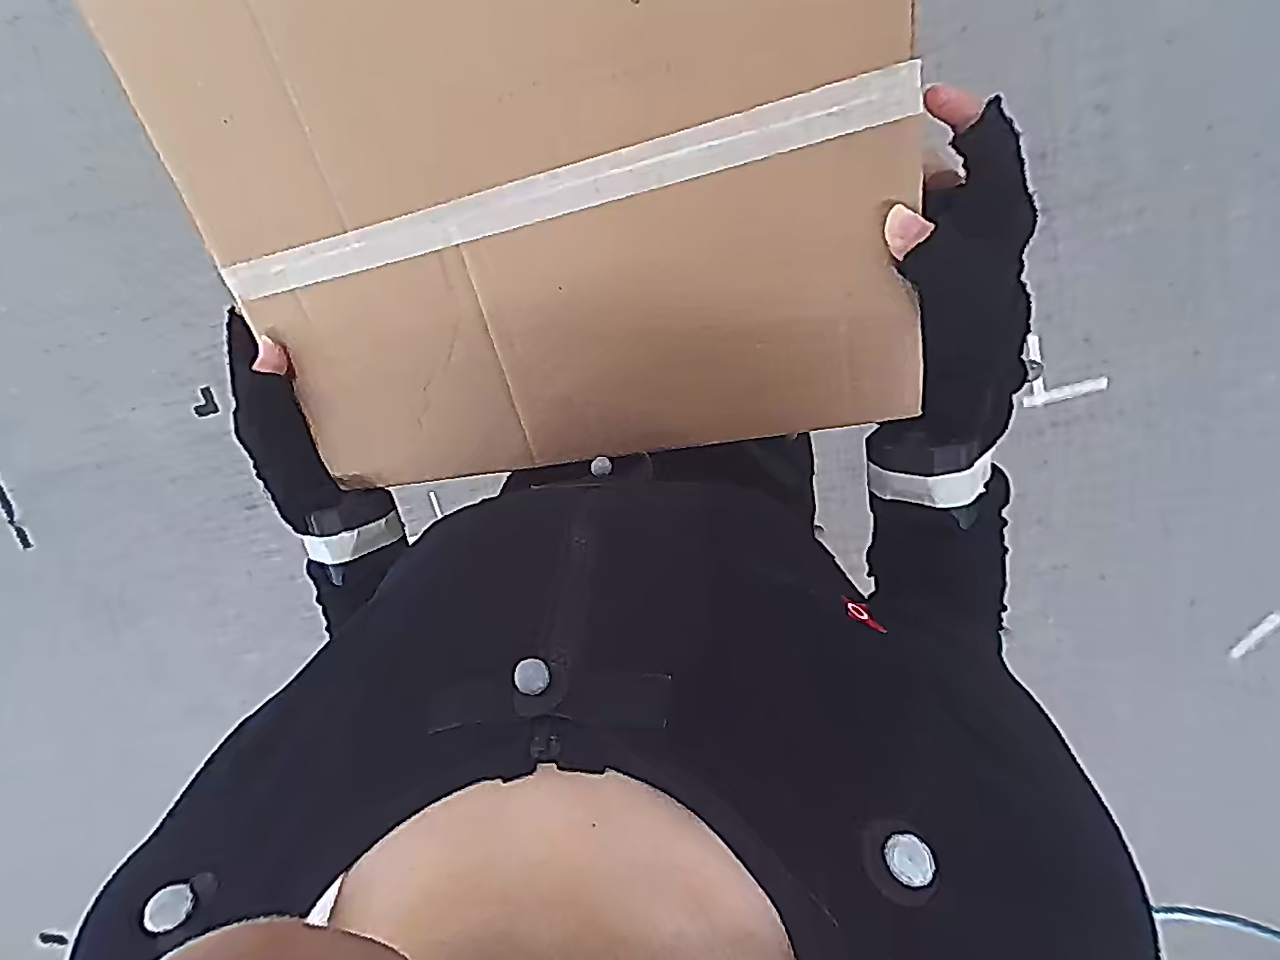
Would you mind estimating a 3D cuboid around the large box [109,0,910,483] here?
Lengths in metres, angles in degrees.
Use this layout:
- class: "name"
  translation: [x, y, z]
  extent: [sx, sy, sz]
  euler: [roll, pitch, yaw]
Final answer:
- class: "large box"
  translation: [-0.037, -0.225, 0.429]
  extent: [0.408, 0.320, 0.320]
  euler: [-7, 116, 16]
